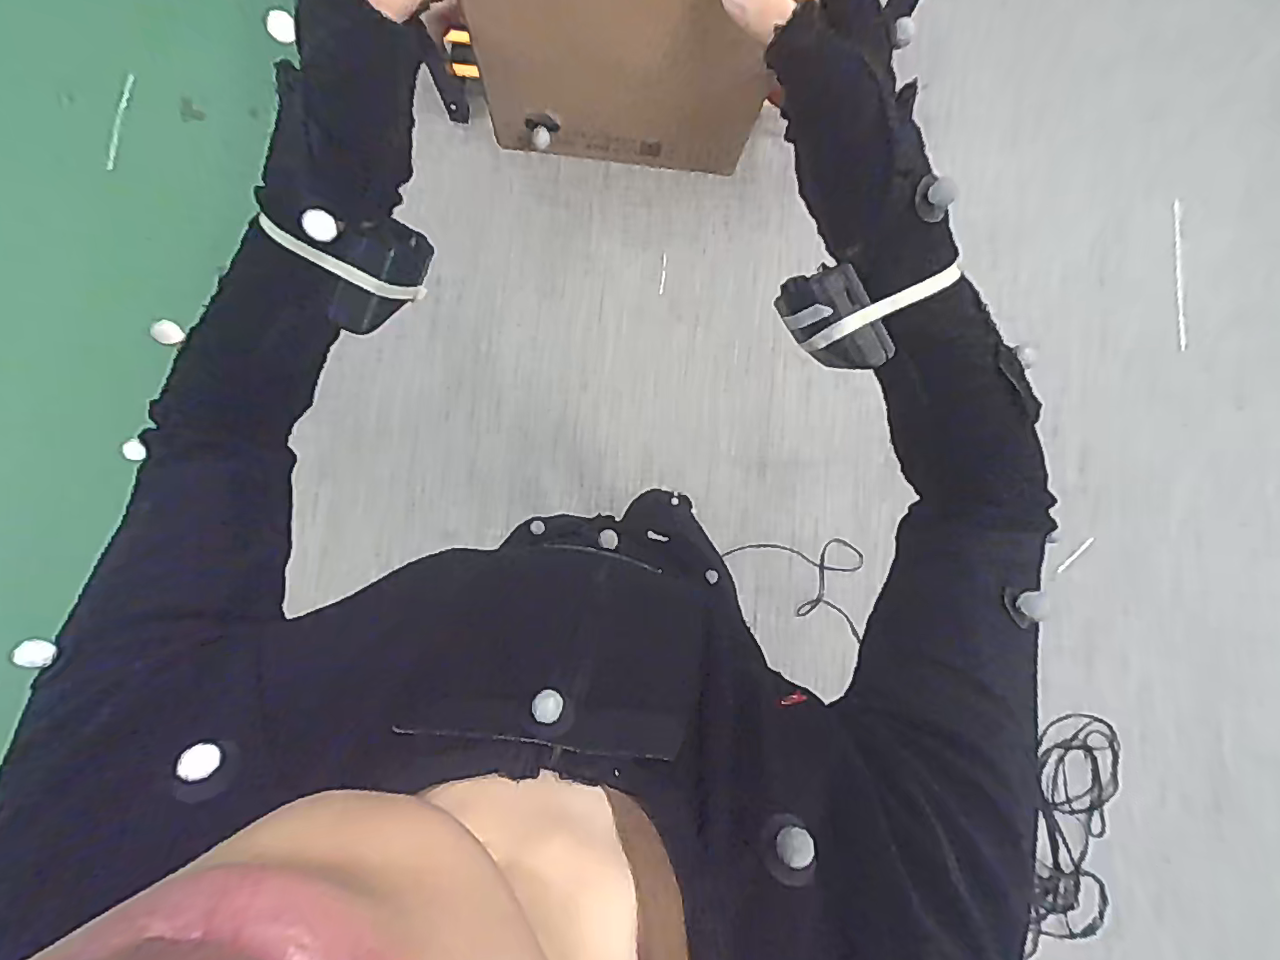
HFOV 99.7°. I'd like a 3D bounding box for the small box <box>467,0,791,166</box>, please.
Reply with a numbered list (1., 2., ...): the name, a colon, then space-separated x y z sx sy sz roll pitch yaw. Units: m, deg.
1. small box: -0.003 -0.312 0.303 0.168 0.176 0.179 4 86 -5
